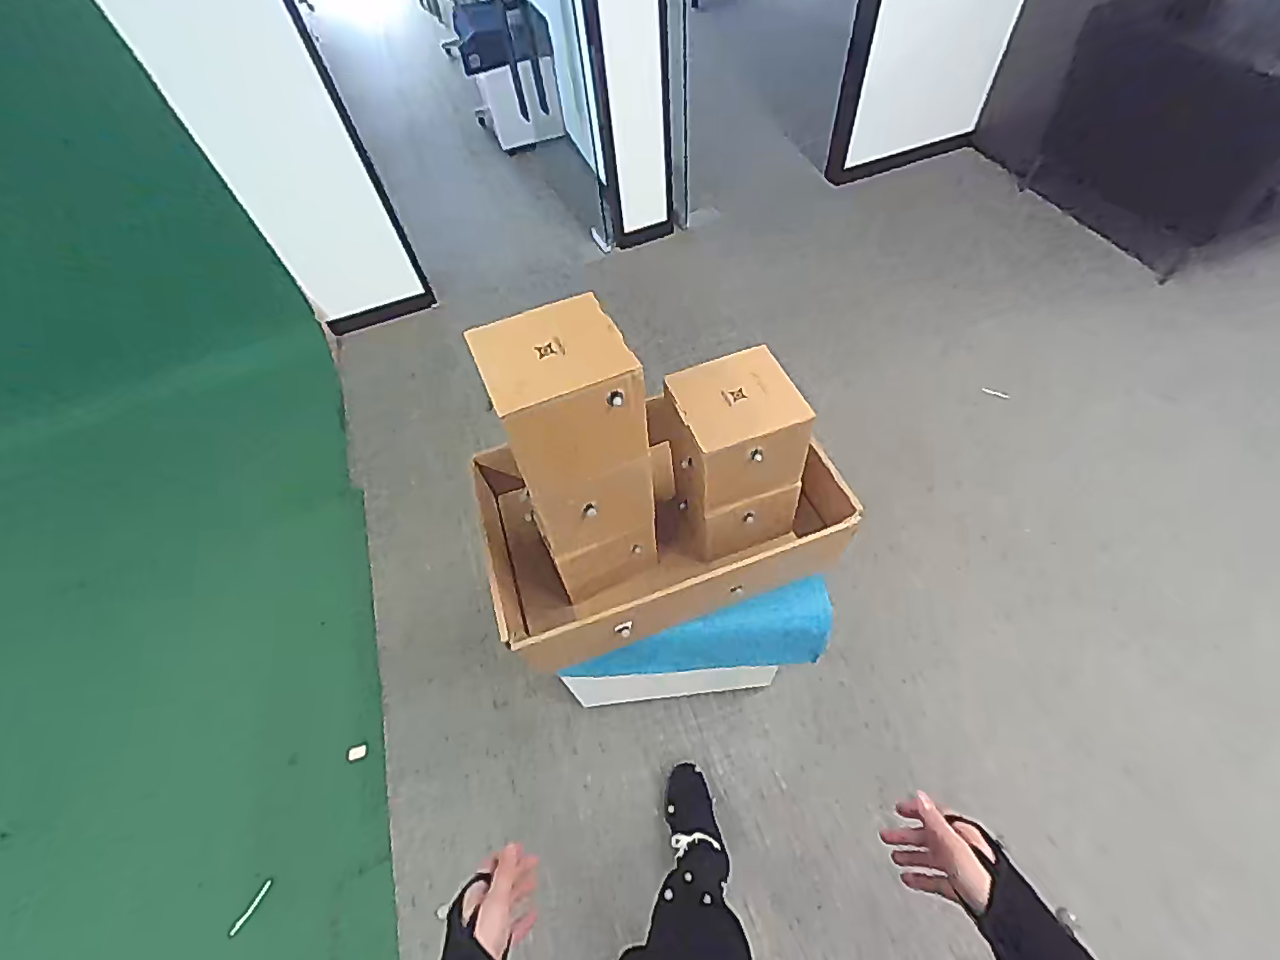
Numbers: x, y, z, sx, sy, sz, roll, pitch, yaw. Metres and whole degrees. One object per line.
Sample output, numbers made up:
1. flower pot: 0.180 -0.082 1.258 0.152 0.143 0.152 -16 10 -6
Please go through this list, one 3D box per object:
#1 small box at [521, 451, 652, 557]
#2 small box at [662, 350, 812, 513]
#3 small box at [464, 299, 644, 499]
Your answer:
1. small box: -0.092 -0.006 0.844 0.179 0.176 0.168 -22 56 -11
2. small box: 0.148 -0.071 0.862 0.179 0.176 0.168 -18 55 -6
3. small box: -0.105 -0.102 0.712 0.179 0.176 0.168 -22 55 -12
